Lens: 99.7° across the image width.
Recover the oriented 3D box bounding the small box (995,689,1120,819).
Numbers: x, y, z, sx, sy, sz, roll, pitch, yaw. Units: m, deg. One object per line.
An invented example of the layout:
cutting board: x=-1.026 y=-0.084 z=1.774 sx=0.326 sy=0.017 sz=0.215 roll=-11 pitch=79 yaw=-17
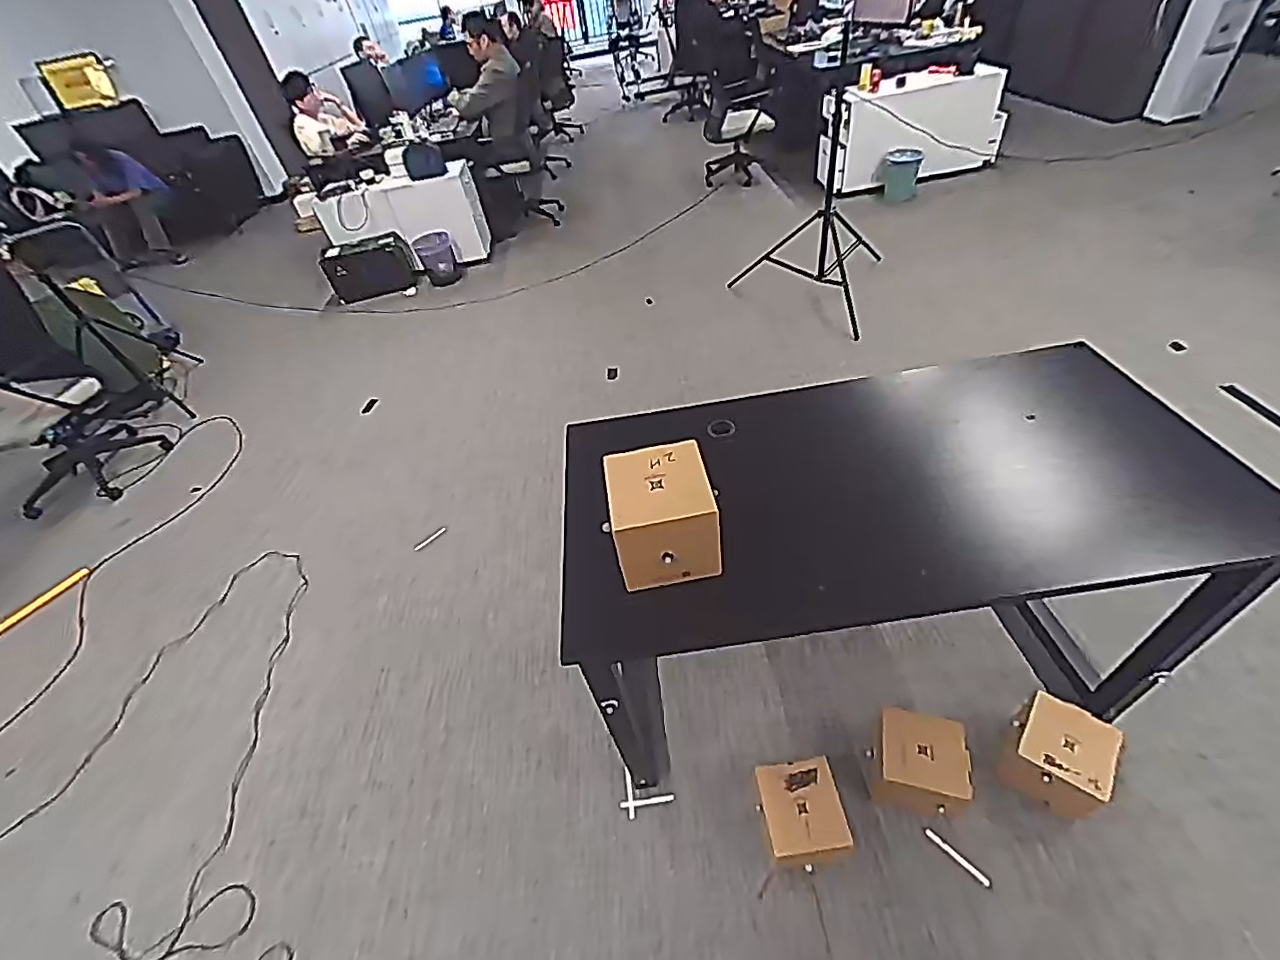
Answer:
small box: x=0.942 y=0.624 z=1.231 sx=0.168 sy=0.176 sz=0.179 roll=25 pitch=55 yaw=32

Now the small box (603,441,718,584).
small box: x=0.037 y=0.063 z=0.934 sx=0.168 sy=0.176 sz=0.179 roll=-11 pitch=44 yaw=0

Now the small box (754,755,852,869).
small box: x=0.358 y=0.752 z=1.223 sx=0.168 sy=0.176 sz=0.179 roll=-10 pitch=46 yaw=2

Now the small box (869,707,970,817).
small box: x=0.642 y=0.659 z=1.260 sx=0.179 sy=0.176 sz=0.168 roll=5 pitch=46 yaw=18
